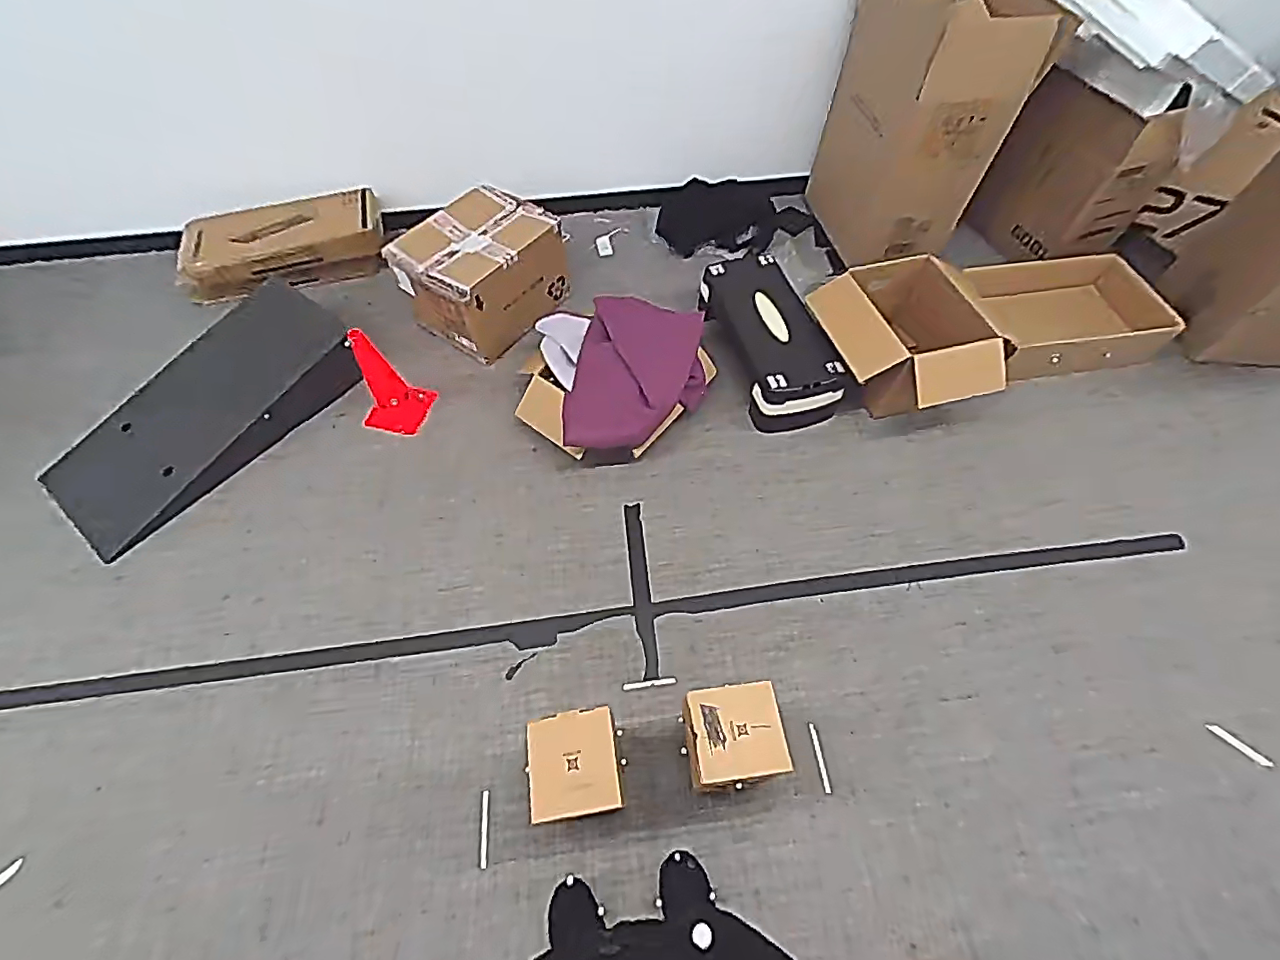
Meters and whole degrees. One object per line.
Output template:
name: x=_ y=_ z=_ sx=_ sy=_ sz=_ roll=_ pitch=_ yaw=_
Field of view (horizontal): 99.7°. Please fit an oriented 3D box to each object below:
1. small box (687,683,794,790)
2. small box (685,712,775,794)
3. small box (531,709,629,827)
small box: x=0.193 y=0.527 z=1.103 sx=0.179 sy=0.176 sz=0.168 roll=-6 pitch=58 yaw=-4
small box: x=0.199 y=0.614 z=1.243 sx=0.168 sy=0.176 sz=0.179 roll=-4 pitch=59 yaw=-3
small box: x=-0.117 y=0.576 z=1.079 sx=0.168 sy=0.176 sz=0.179 roll=-10 pitch=60 yaw=-3
